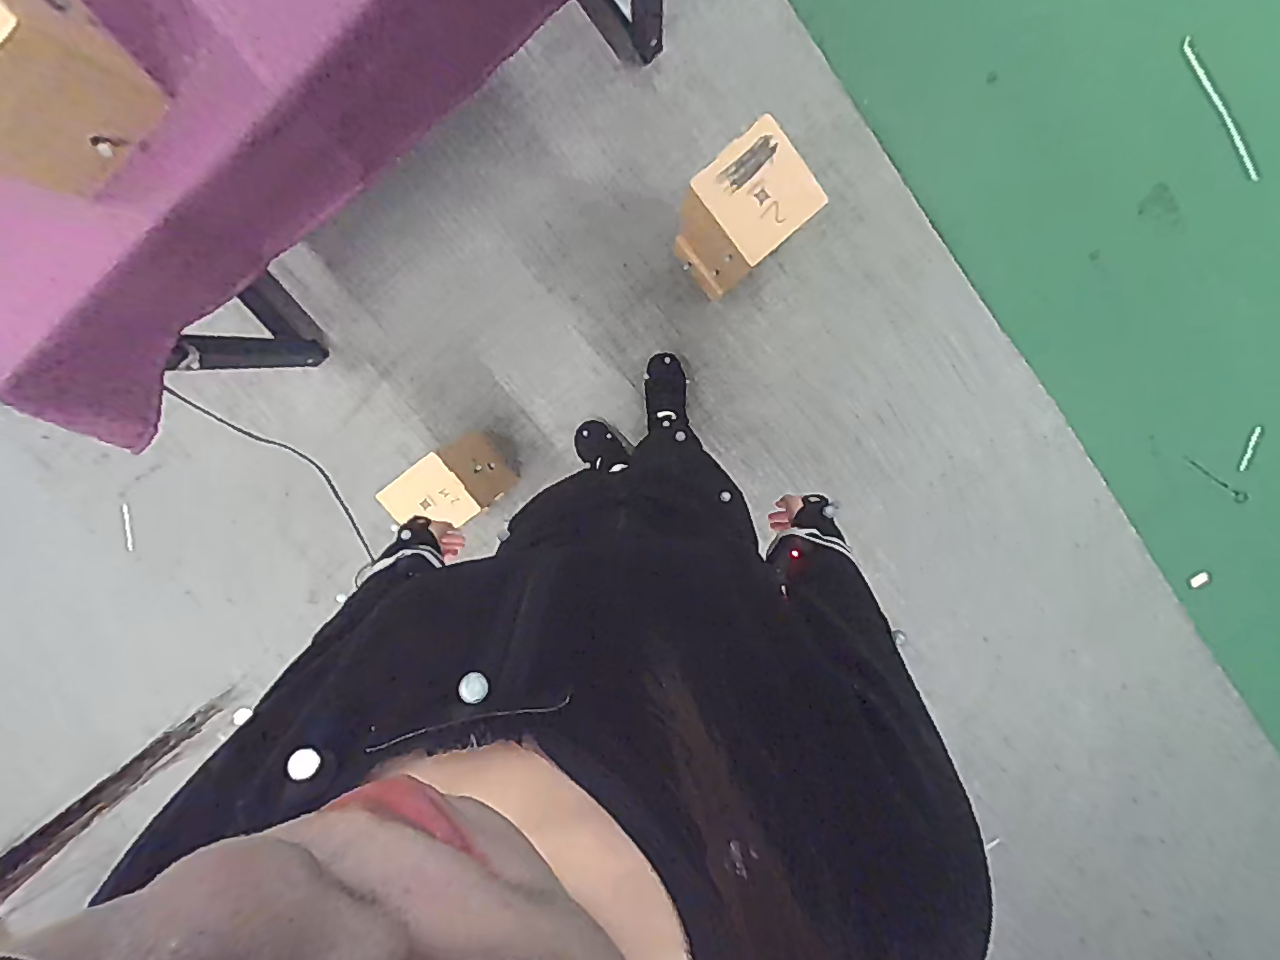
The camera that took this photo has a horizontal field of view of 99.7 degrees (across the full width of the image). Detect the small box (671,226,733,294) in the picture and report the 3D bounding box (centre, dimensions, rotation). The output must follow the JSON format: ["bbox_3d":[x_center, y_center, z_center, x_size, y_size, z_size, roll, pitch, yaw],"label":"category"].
[{"bbox_3d":[0.189,-0.566,1.284,0.179,0.176,0.168,-40,100,9],"label":"small box"}]

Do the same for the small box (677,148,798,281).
[{"bbox_3d":[0.194,-0.535,1.124,0.168,0.176,0.179,-38,100,7],"label":"small box"}]

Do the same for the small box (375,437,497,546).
[{"bbox_3d":[-0.463,0.021,1.261,0.179,0.176,0.168,-35,100,8],"label":"small box"}]

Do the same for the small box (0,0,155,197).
[{"bbox_3d":[-0.684,-0.445,0.574,0.179,0.176,0.168,-40,99,8],"label":"small box"}]
